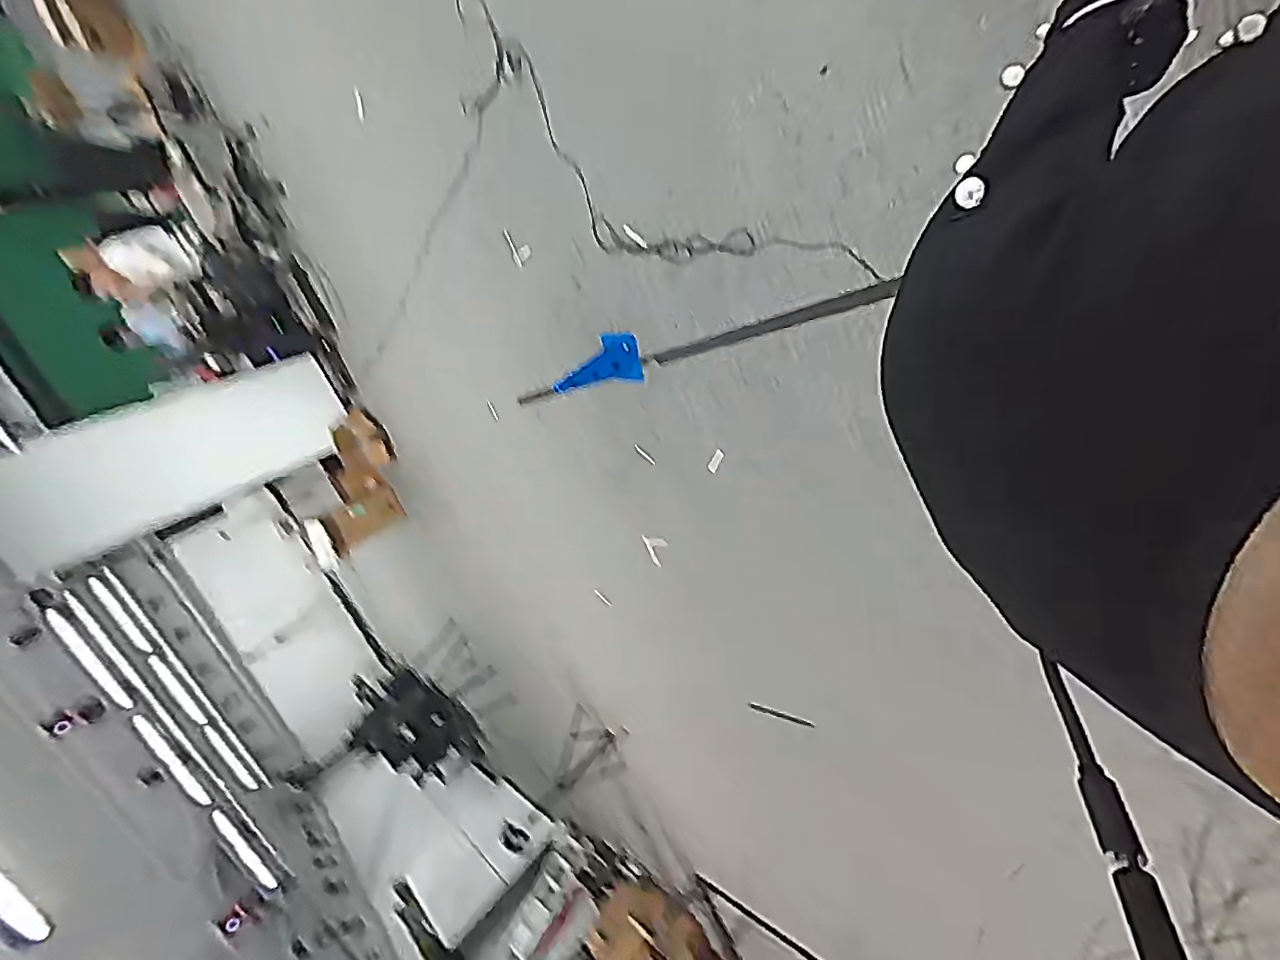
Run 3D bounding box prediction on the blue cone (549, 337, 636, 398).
[{"bbox_3d":[-0.206,-0.416,2.111,0.193,0.380,0.192,17,130,41],"label":"blue cone"}]
